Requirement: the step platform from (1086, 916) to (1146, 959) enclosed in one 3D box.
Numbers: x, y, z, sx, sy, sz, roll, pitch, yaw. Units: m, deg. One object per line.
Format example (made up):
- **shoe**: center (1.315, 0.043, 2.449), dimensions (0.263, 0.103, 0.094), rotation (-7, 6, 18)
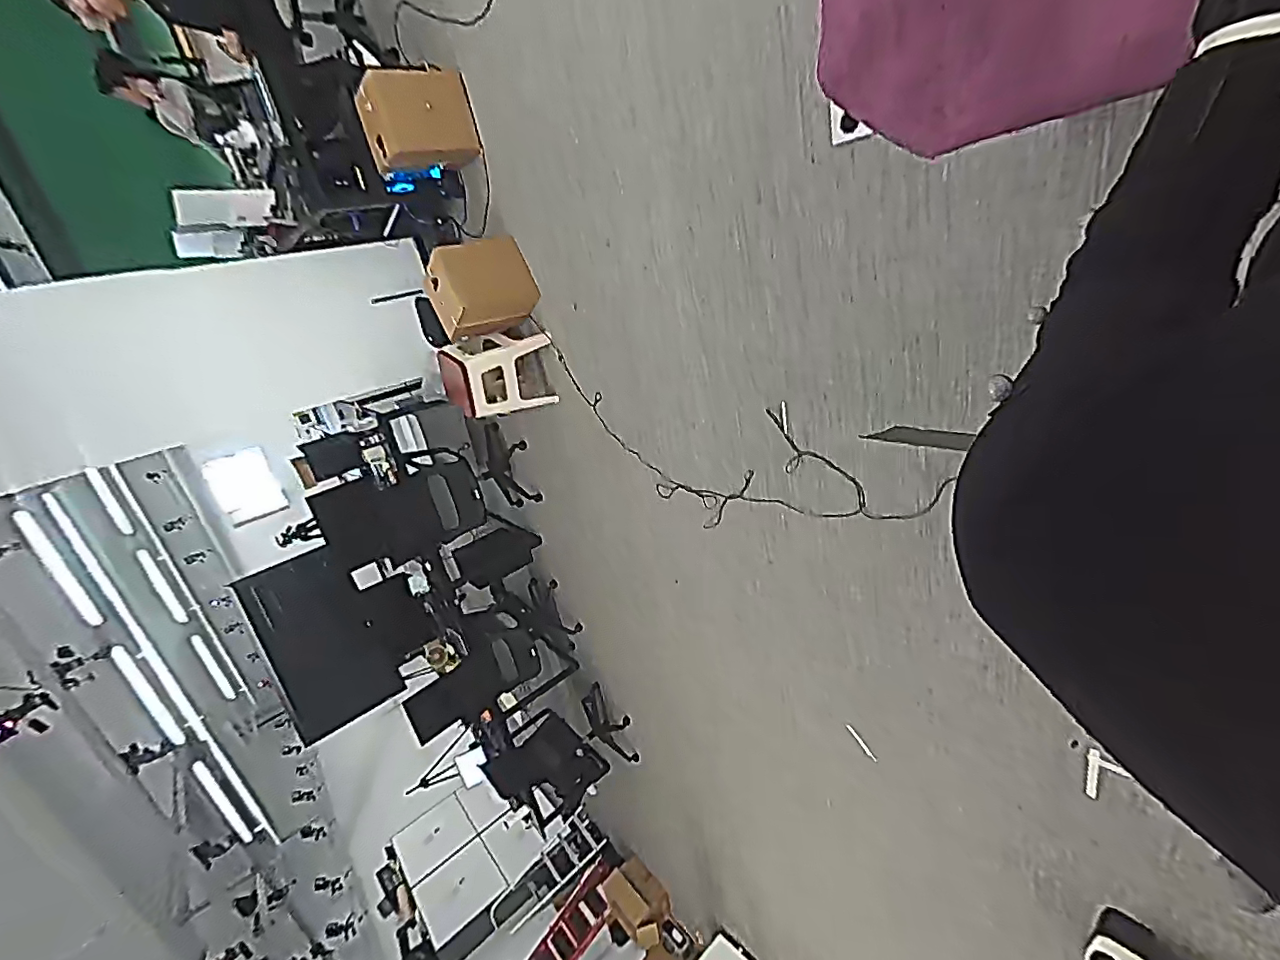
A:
- **step platform**: center (1.527, 1.479, 1.331), dimensions (0.684, 0.204, 0.286), rotation (14, 124, 49)
